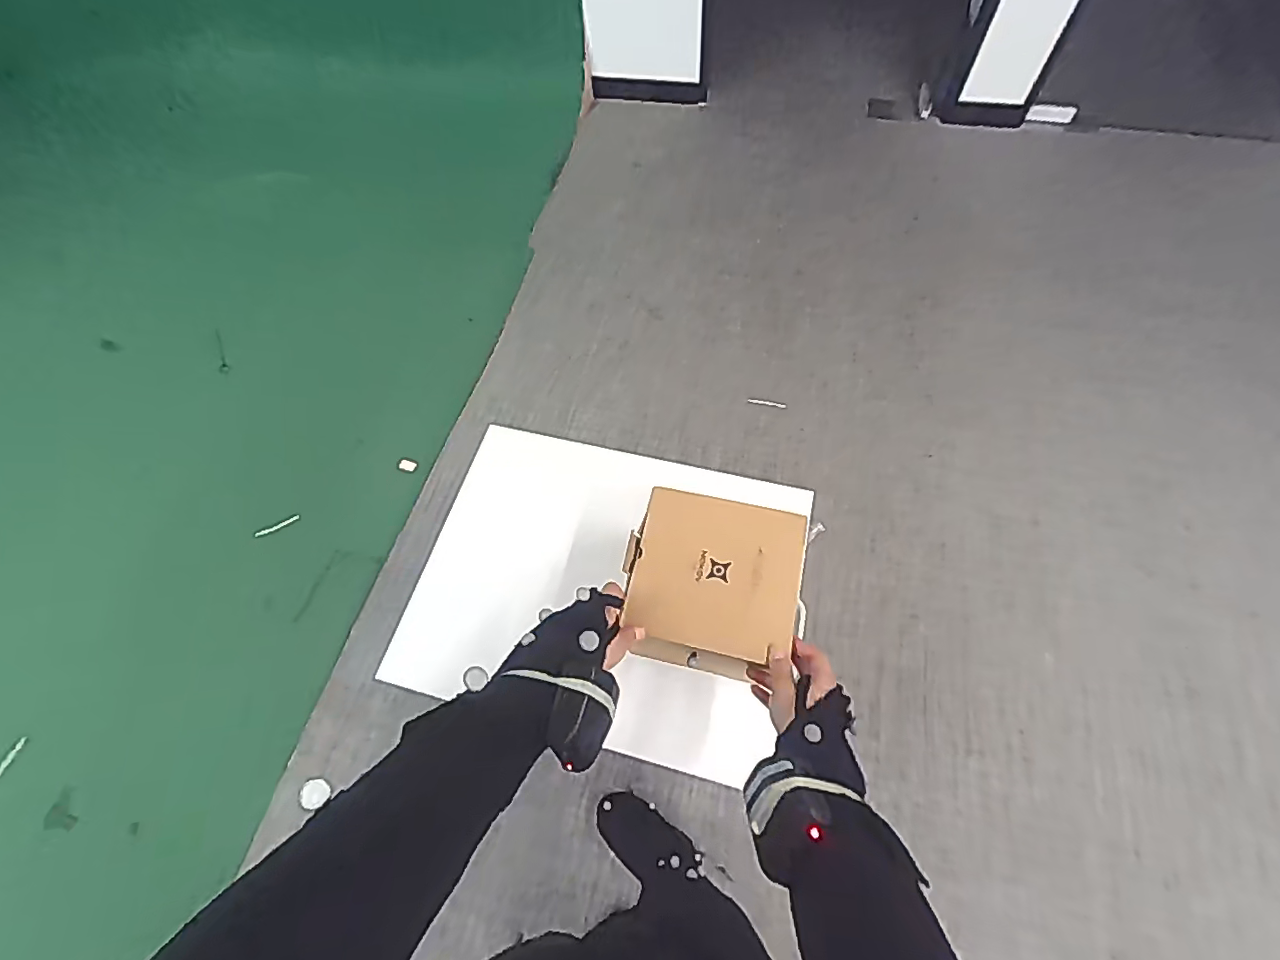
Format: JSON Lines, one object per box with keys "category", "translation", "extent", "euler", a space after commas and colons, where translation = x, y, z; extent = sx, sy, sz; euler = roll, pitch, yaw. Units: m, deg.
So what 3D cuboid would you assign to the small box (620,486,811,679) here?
{"category": "small box", "translation": [0.087, 0.127, 0.636], "extent": [0.179, 0.176, 0.168], "euler": [11, 66, 9]}
